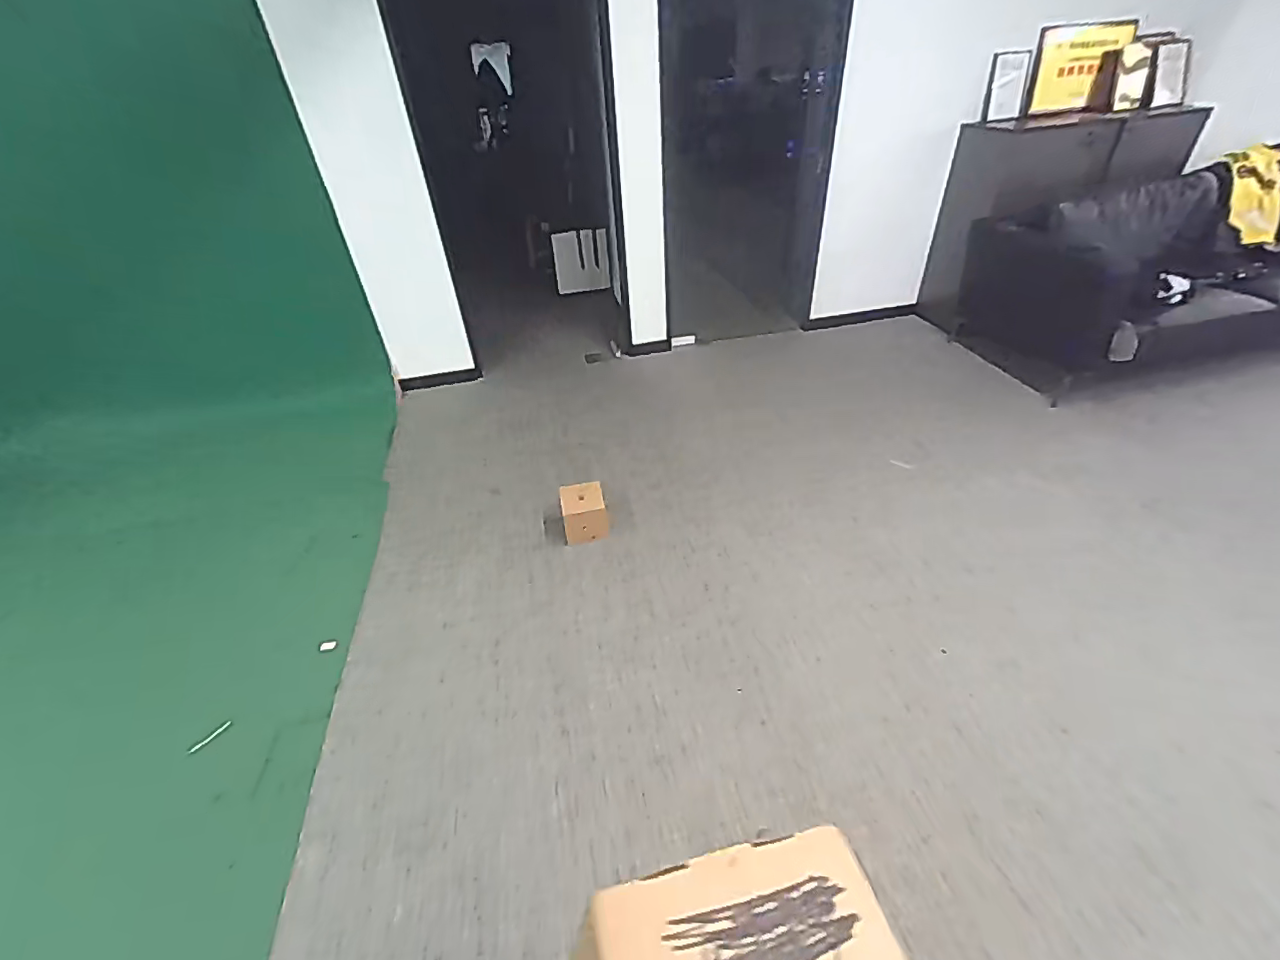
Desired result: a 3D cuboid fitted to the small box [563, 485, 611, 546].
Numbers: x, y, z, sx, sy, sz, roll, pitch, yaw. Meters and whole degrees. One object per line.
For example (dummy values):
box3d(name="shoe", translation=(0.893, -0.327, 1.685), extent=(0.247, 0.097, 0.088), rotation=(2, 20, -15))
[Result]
box3d(name="small box", translation=(-0.212, 0.149, 2.166), extent=(0.168, 0.176, 0.179), rotation=(-9, 39, -7))
